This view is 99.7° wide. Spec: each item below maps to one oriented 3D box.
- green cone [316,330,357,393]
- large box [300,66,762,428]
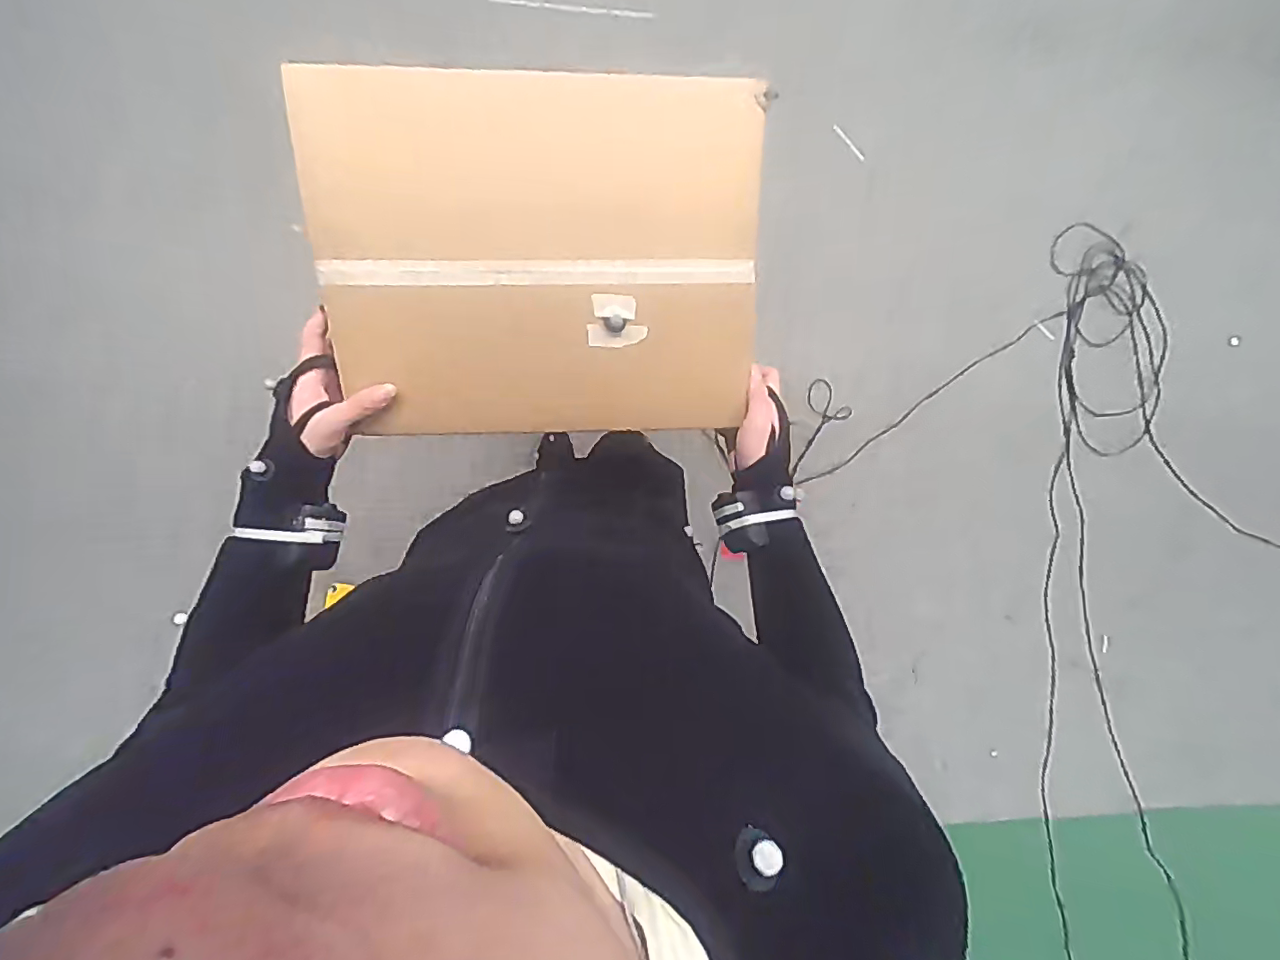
[{"bbox_3d":[-0.719,-0.328,1.368,0.200,0.368,0.202,7,93,-7],"label":"green cone"},{"bbox_3d":[-0.102,-0.255,0.655,0.408,0.320,0.320,-2,111,-5],"label":"large box"}]
